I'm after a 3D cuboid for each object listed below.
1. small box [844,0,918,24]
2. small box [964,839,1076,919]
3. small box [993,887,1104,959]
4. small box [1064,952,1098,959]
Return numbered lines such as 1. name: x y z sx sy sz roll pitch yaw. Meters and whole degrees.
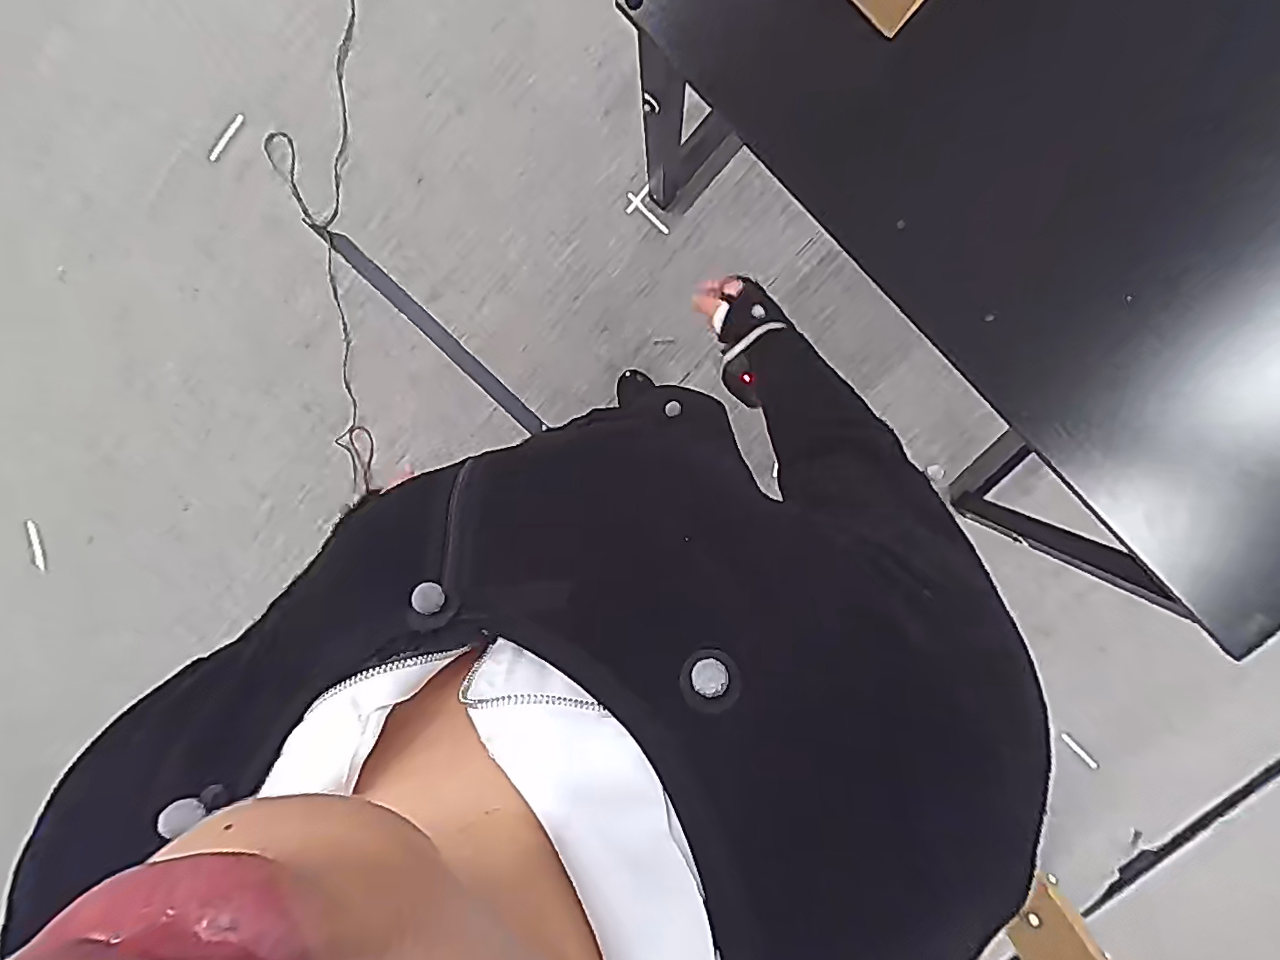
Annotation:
1. small box: 0.278 -0.620 0.542 0.179 0.176 0.168 41 99 -7
2. small box: 1.118 1.225 1.609 0.168 0.176 0.179 44 100 -5
3. small box: 1.106 1.253 1.447 0.179 0.176 0.168 43 99 -5
4. small box: 1.100 1.285 1.288 0.179 0.176 0.168 42 100 -6
